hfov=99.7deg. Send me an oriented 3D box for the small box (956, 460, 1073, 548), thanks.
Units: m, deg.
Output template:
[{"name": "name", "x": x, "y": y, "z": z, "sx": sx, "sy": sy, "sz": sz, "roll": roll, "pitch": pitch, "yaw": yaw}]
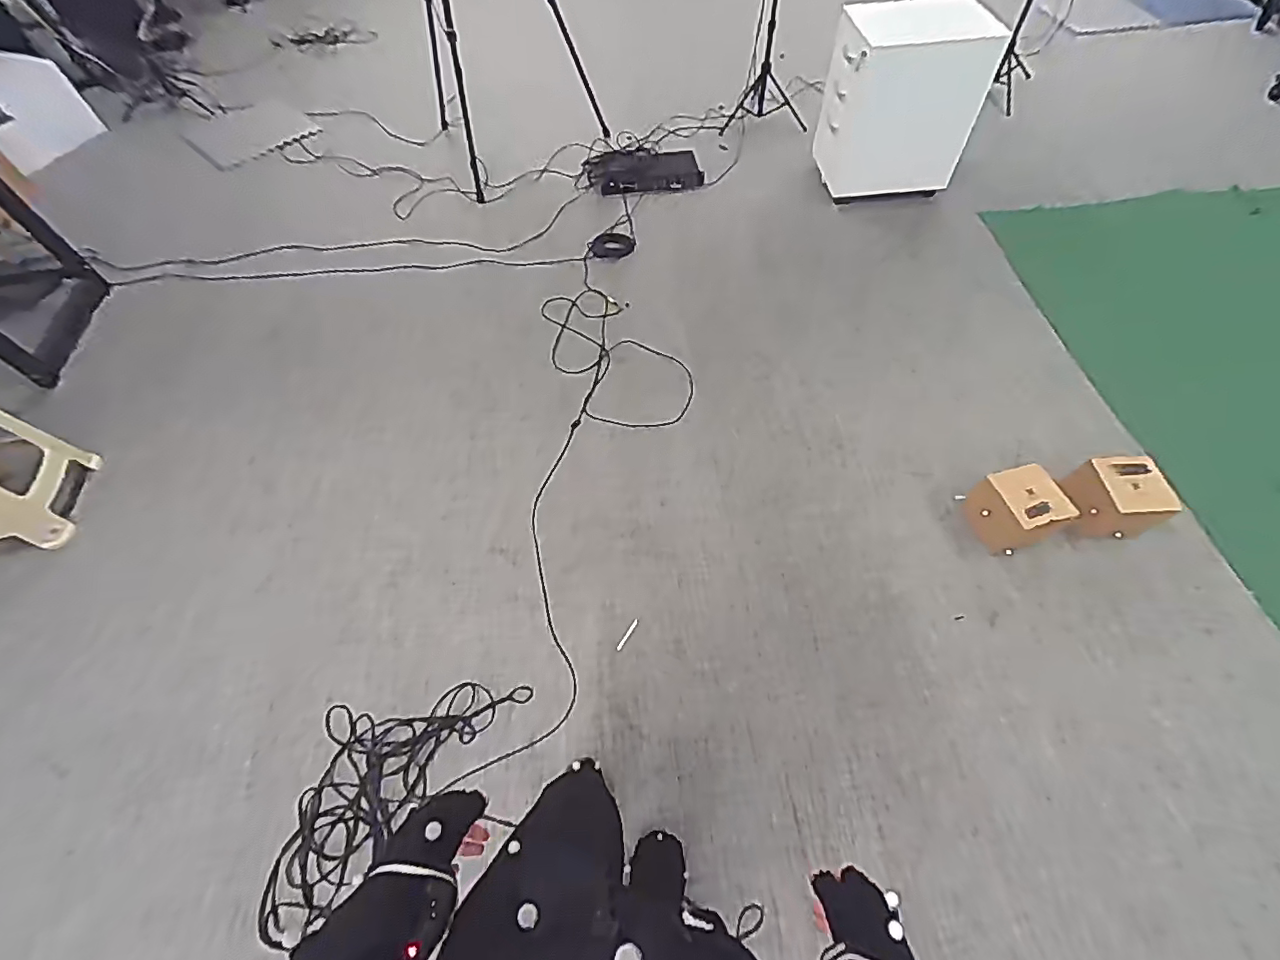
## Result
[{"name": "small box", "x": 1.032, "y": 0.074, "z": 1.507, "sx": 0.168, "sy": 0.176, "sz": 0.179, "roll": -13, "pitch": 58, "yaw": -6}]
